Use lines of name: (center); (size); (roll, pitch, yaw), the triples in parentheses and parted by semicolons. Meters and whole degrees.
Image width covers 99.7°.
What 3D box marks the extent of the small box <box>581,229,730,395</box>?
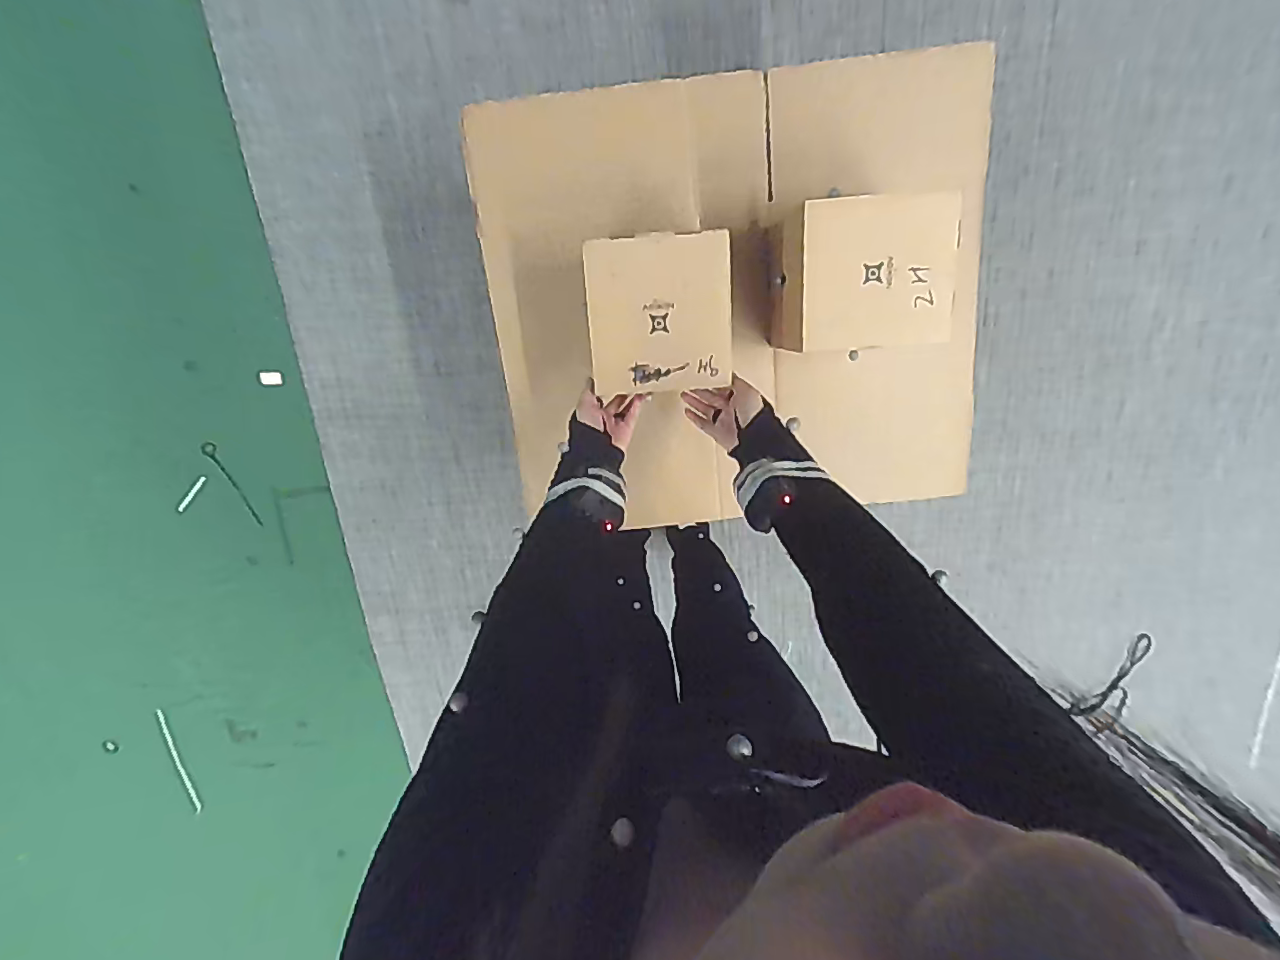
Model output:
small box: (0.020, -0.206, 0.693); (0.168, 0.176, 0.179); (-4, 104, 2)

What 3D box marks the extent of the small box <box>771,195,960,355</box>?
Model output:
small box: (0.267, -0.248, 0.686); (0.179, 0.176, 0.168); (-3, 106, 2)
